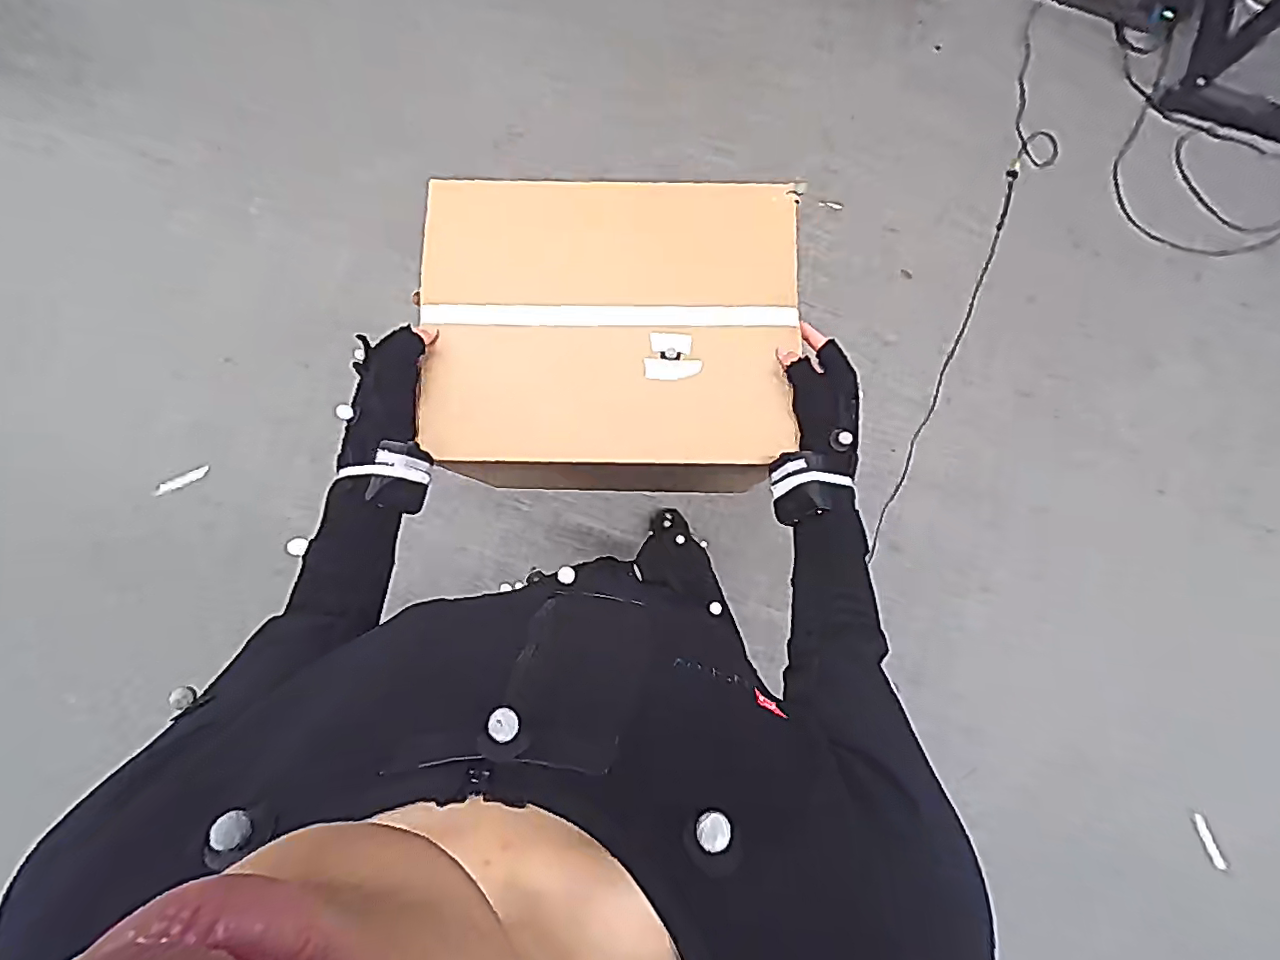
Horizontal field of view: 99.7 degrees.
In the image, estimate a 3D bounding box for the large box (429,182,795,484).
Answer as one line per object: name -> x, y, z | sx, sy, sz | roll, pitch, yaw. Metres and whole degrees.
large box -> -0.035, -0.168, 0.747 | 0.408, 0.320, 0.320 | -1, 84, 0
